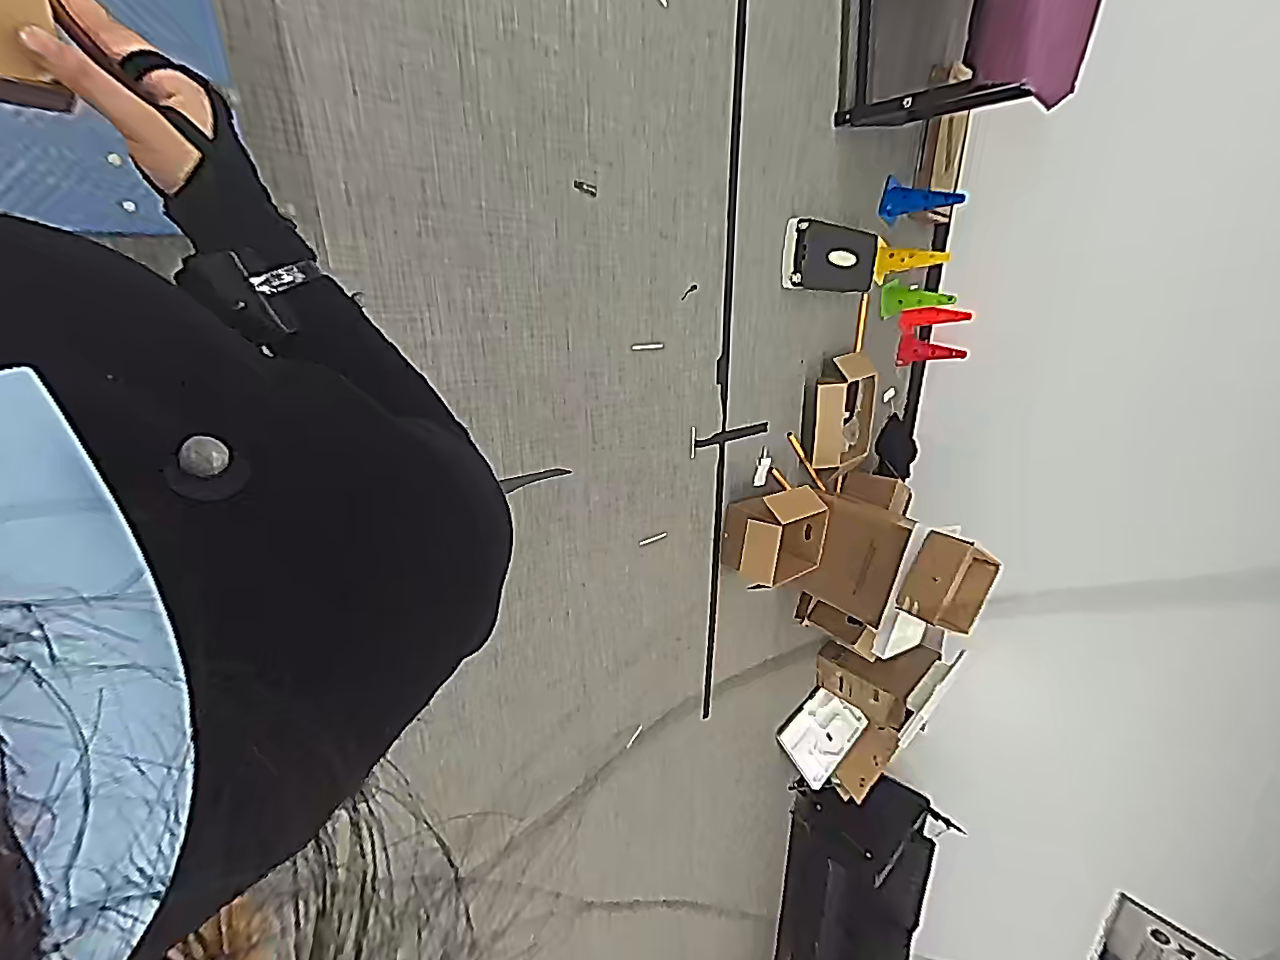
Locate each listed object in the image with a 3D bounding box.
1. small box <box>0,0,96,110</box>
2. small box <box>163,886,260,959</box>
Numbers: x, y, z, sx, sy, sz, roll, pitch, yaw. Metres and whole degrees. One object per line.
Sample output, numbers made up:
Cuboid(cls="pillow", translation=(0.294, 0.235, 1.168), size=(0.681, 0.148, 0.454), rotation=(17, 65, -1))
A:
Cuboid(cls="small box", translation=(-0.428, -0.325, 0.287), size=(0.168, 0.176, 0.179), rotation=(-14, 120, -41))
Cuboid(cls="small box", translation=(-1.119, 1.231, 1.417), size=(0.168, 0.176, 0.179), rotation=(-18, 116, -39))
